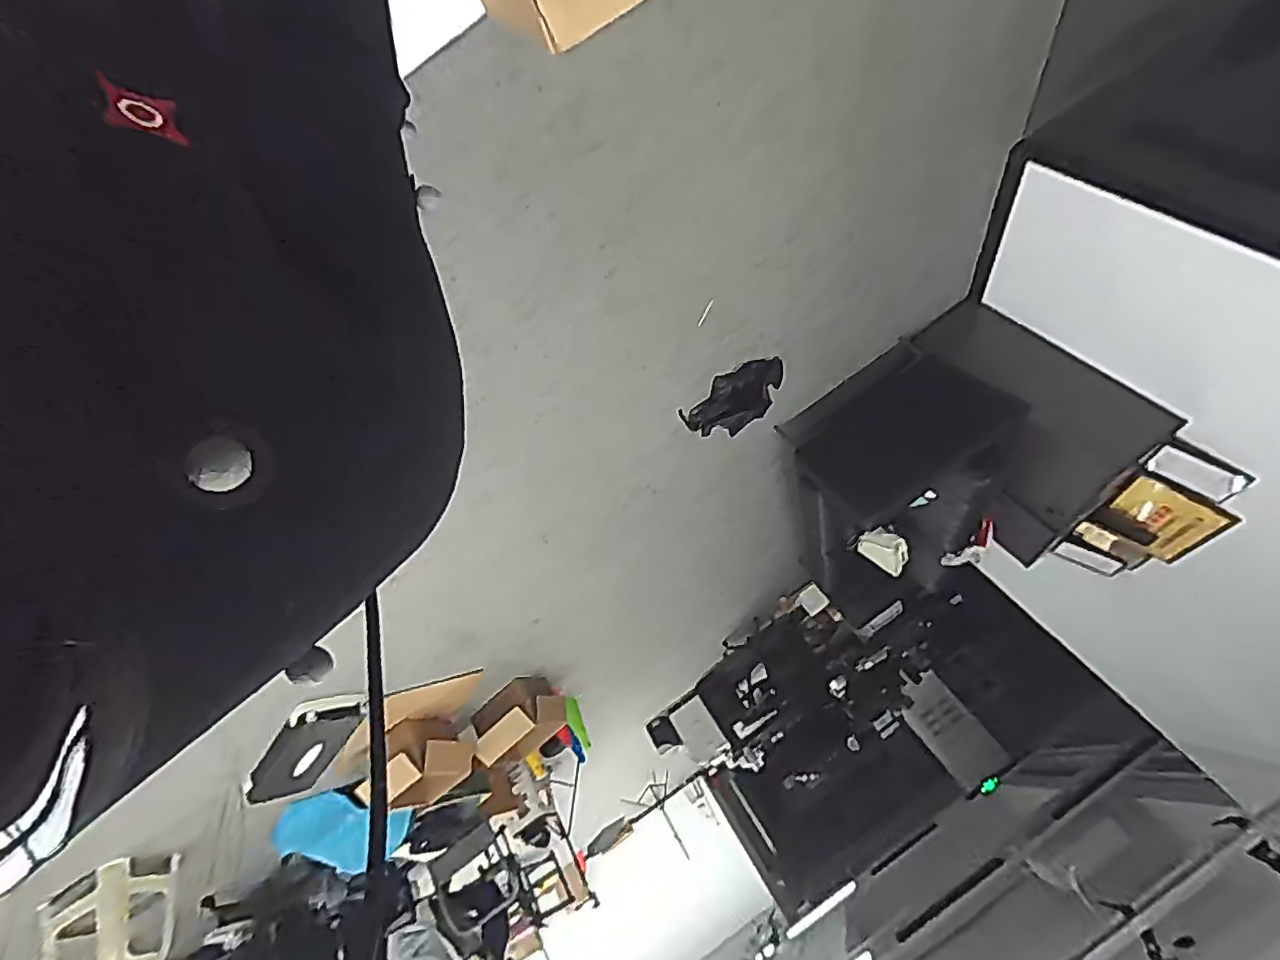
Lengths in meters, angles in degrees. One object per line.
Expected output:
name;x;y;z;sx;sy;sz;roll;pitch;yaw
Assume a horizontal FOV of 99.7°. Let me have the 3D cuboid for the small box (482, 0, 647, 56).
small box;-0.071;-0.515;0.461;0.179;0.176;0.168;-36;149;-3
